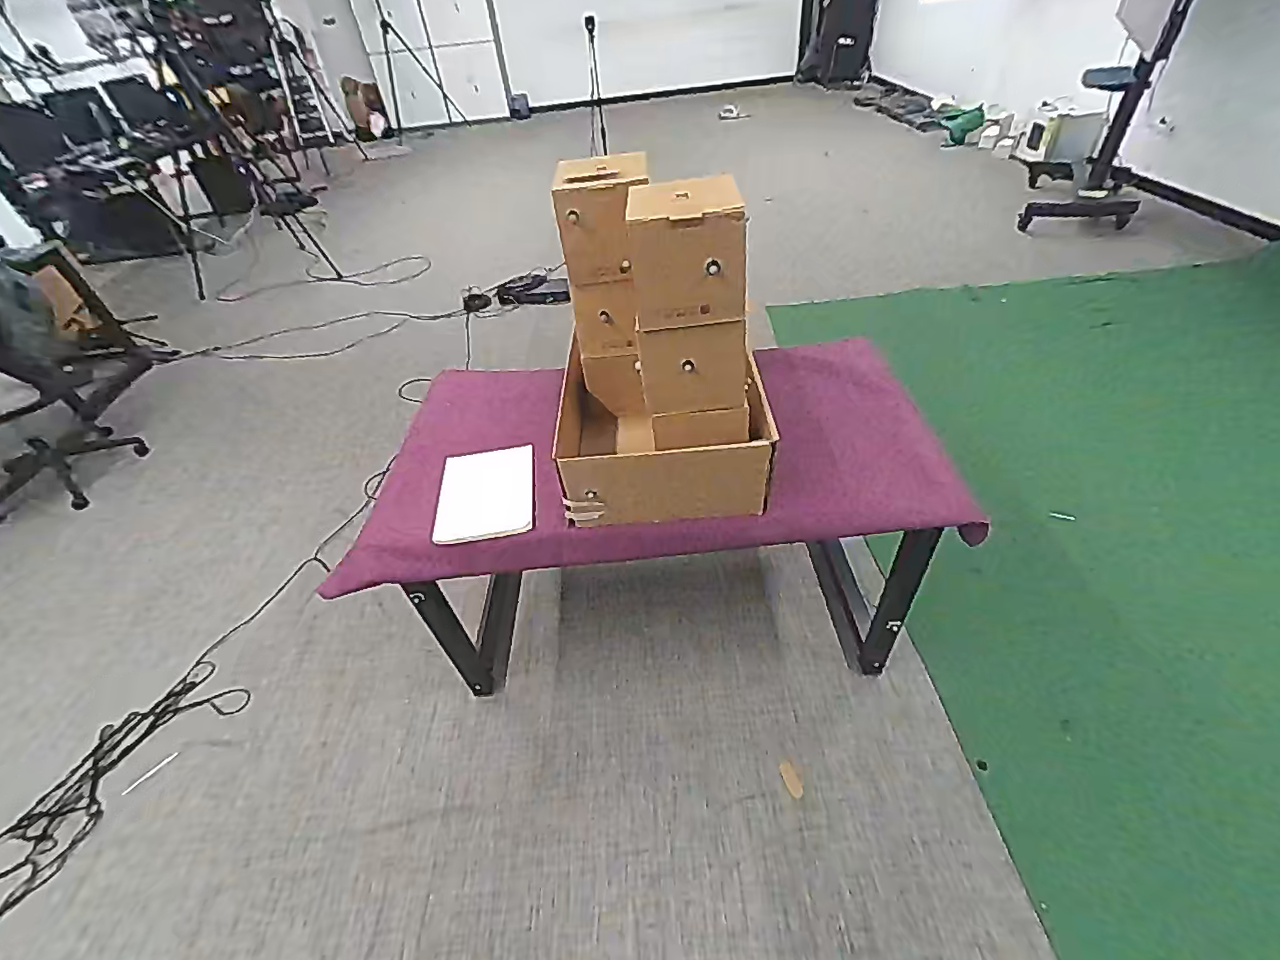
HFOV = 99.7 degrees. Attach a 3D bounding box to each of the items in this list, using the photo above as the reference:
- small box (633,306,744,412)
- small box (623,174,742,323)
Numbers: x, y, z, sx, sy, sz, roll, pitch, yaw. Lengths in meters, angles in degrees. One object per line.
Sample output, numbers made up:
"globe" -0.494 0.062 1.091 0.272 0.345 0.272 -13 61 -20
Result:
"small box" 0.087 -0.238 0.959 0.179 0.176 0.168 -5 42 6
"small box" 0.069 -0.357 0.849 0.168 0.176 0.179 -4 41 5
